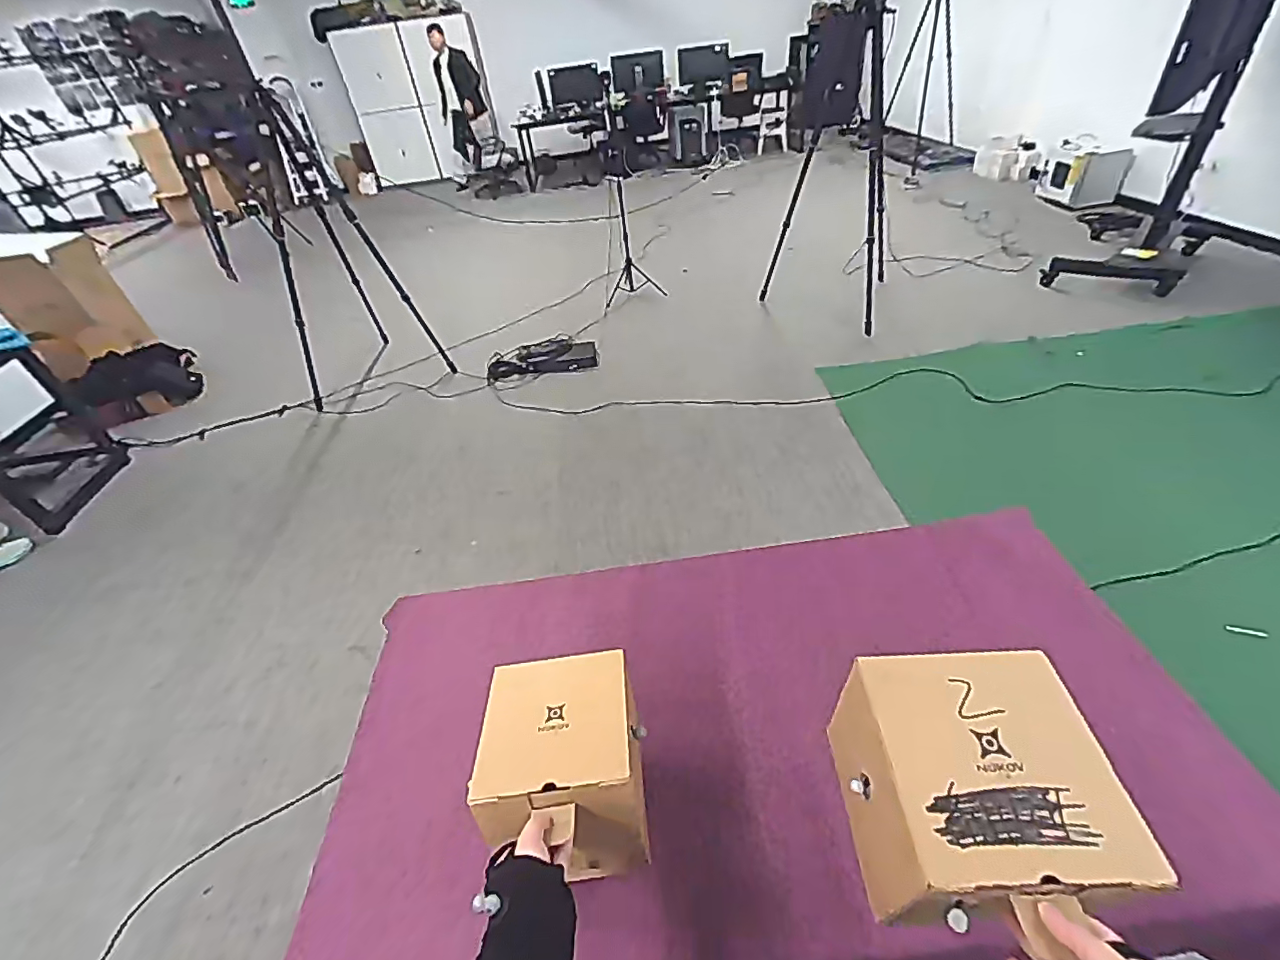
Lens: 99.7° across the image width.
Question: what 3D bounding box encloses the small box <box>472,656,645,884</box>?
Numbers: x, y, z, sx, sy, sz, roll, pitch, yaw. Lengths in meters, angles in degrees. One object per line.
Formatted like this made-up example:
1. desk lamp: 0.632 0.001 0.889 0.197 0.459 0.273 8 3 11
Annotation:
1. small box: -0.088 0.348 0.662 0.168 0.176 0.179 -8 29 0
